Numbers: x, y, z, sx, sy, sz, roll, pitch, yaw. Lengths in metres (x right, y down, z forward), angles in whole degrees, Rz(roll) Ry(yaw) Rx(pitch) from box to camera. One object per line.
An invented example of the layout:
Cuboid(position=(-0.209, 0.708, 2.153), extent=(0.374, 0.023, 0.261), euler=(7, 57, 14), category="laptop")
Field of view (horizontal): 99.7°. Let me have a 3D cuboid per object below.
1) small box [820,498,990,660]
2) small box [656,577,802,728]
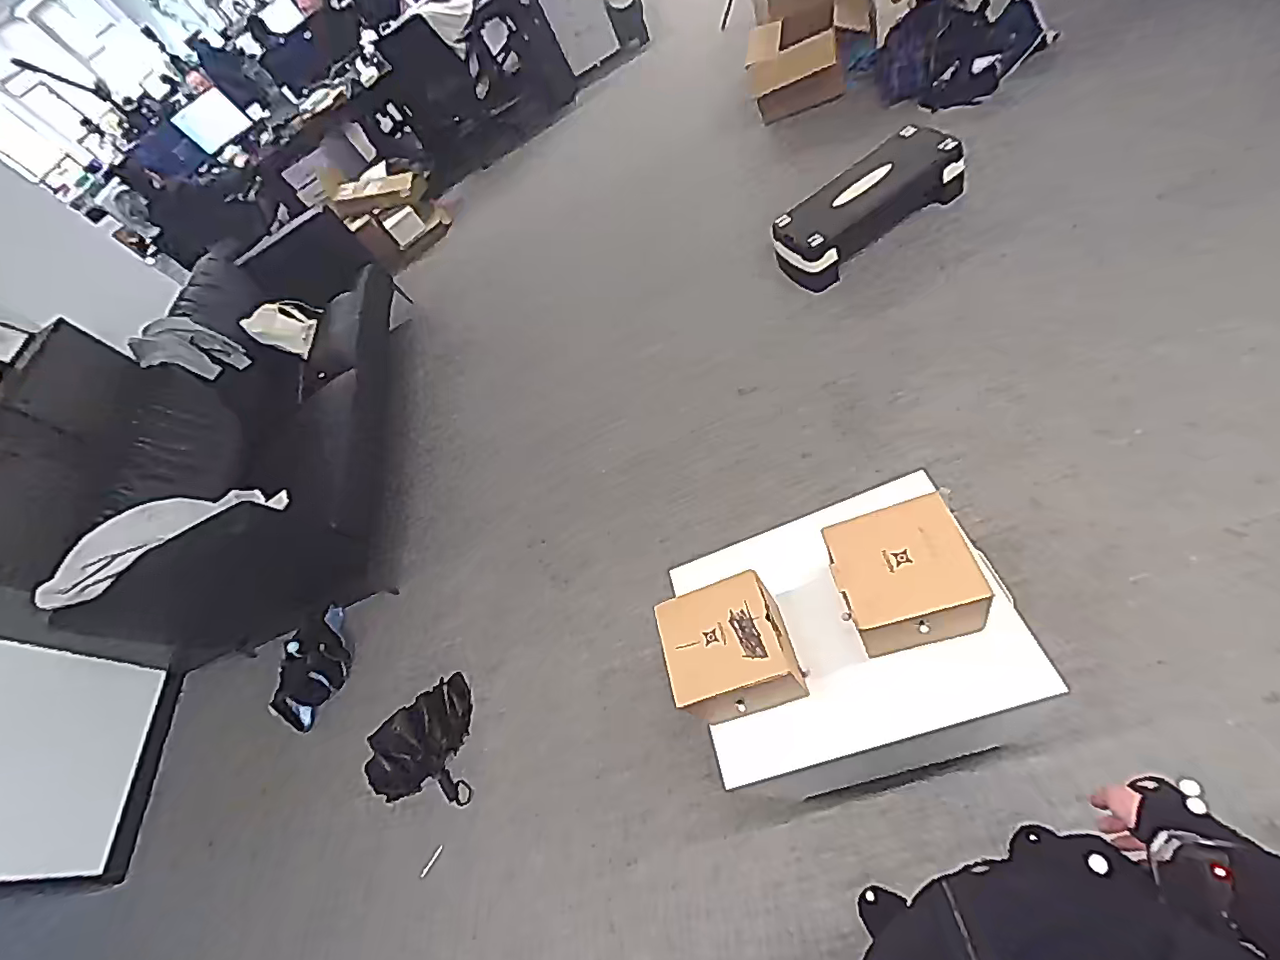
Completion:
Cuboid(position=(0.396, 0.159, 0.820), extent=(0.179, 0.176, 0.168), euler=(-21, 54, 15), category="small box")
Cuboid(position=(0.148, 0.284, 0.871), extent=(0.179, 0.176, 0.168), euler=(-24, 51, 14), category="small box")
